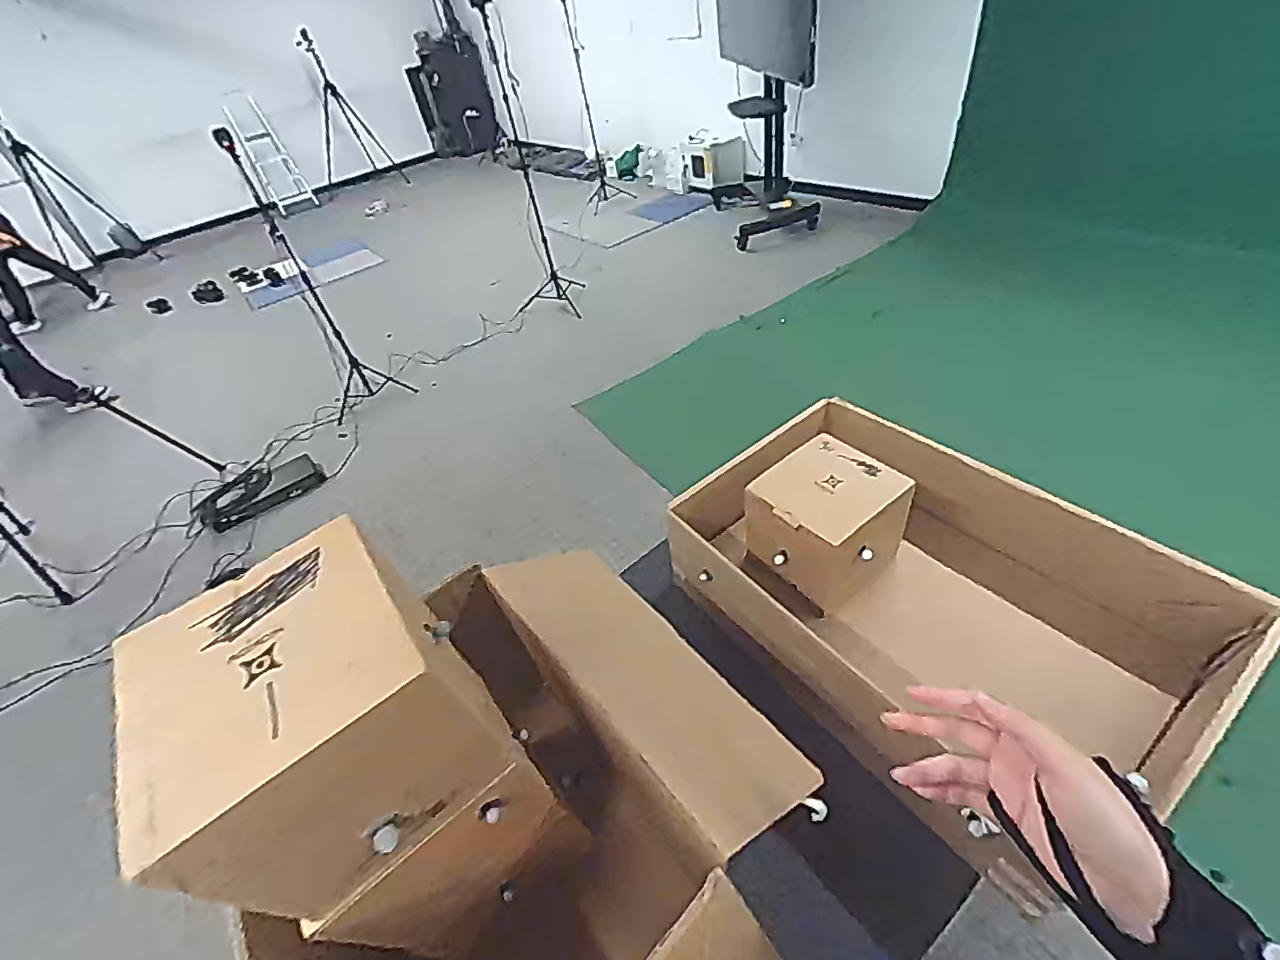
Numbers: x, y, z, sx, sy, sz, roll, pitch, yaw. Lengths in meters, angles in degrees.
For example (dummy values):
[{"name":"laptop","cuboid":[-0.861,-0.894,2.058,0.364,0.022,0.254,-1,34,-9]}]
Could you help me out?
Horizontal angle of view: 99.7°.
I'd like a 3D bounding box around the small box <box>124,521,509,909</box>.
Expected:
[{"name":"small box","cuboid":[-0.226,0.171,0.402,0.168,0.176,0.179,-34,50,-20]}]
